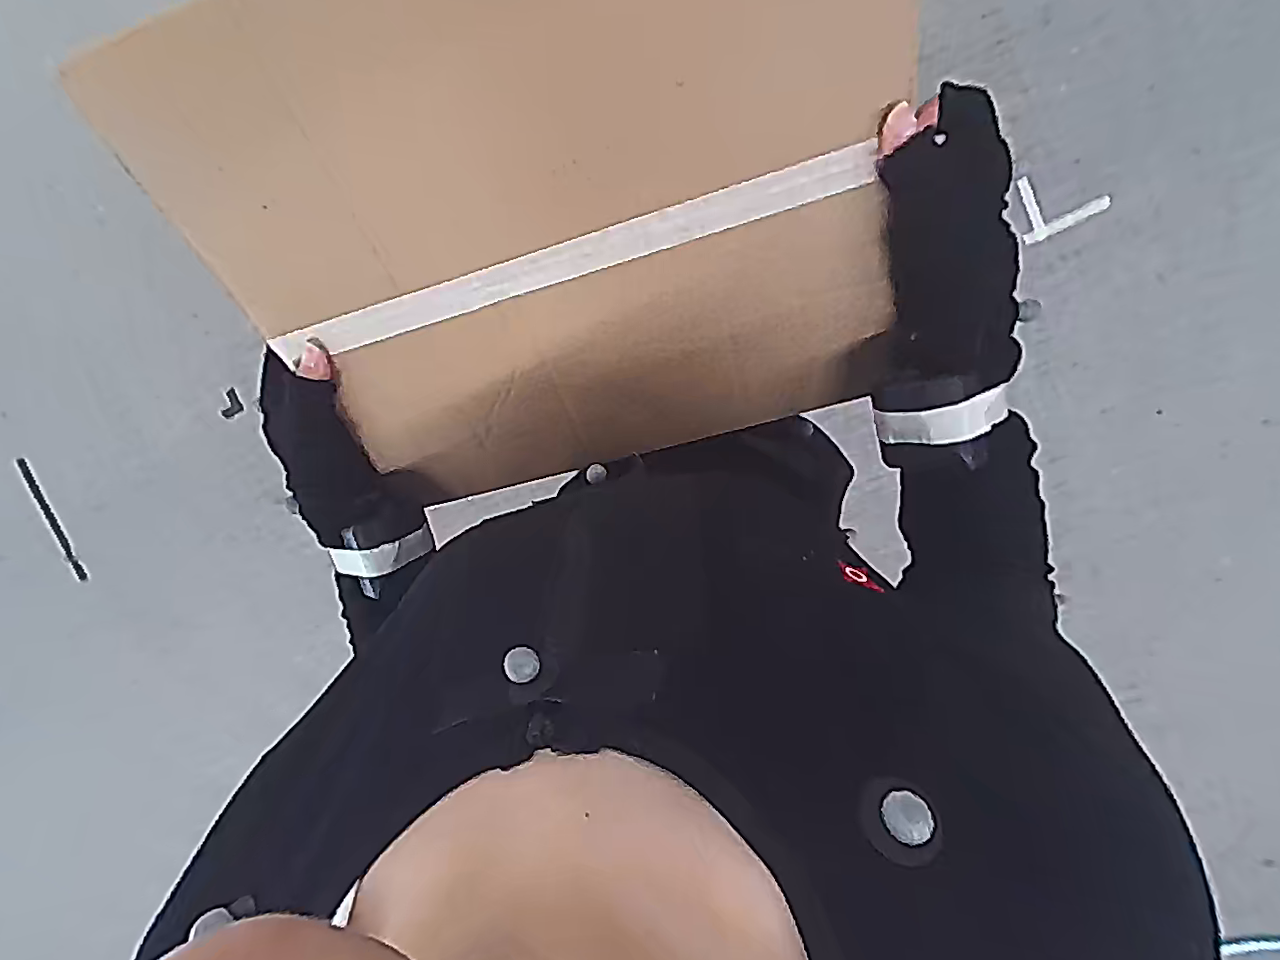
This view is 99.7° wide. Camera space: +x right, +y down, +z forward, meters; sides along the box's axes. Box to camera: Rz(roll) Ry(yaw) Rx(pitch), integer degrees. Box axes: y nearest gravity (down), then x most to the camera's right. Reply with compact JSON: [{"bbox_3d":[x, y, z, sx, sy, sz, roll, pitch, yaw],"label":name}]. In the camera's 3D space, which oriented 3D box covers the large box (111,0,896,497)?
[{"bbox_3d":[-0.047,-0.239,0.450,0.408,0.320,0.320,-14,130,10],"label":"large box"}]
